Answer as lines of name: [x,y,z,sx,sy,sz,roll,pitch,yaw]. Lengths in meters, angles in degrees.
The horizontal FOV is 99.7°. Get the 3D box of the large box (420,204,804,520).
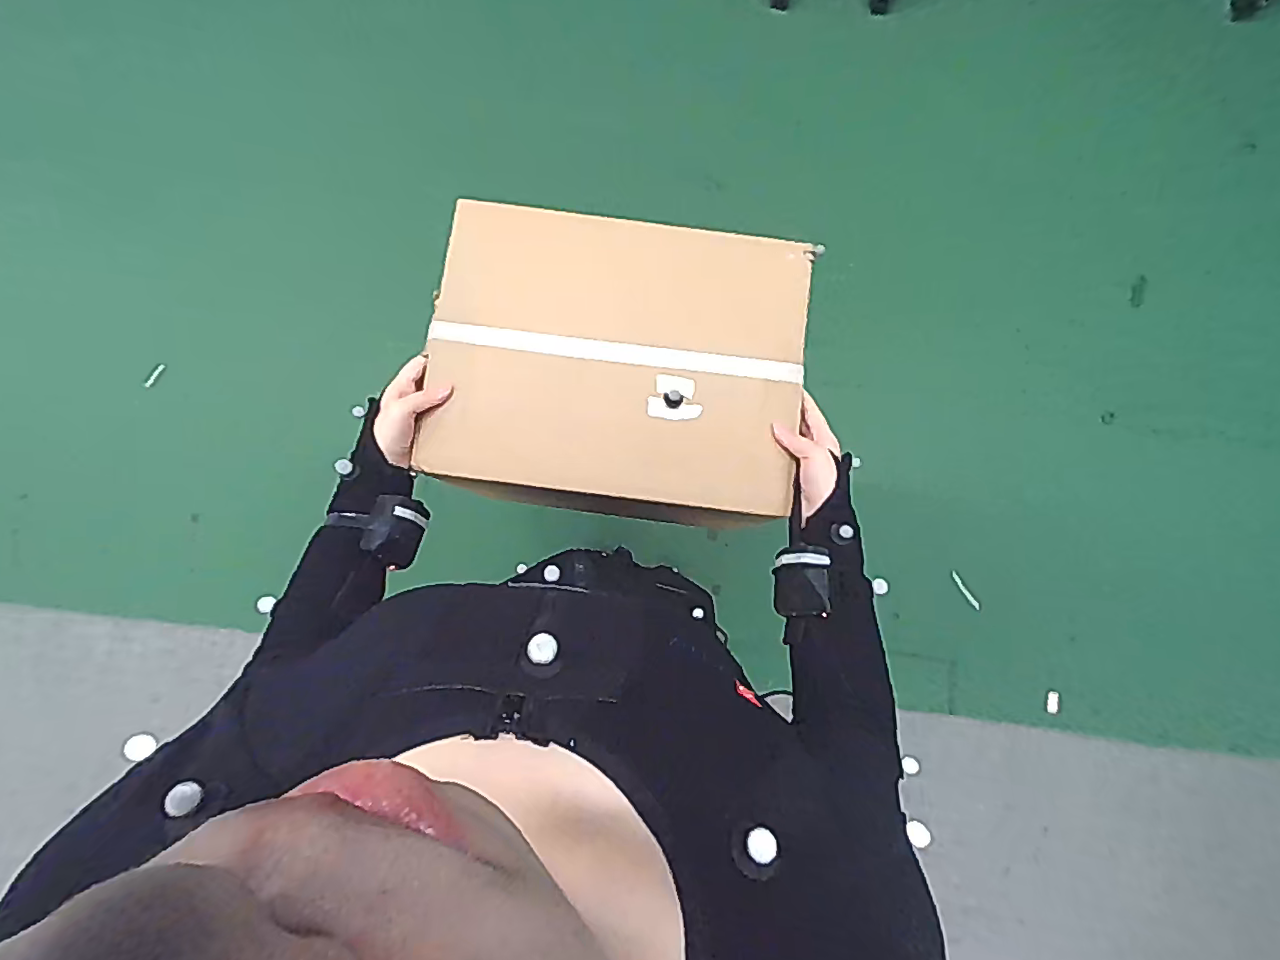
large box: [-0.031,-0.124,0.742,0.408,0.320,0.320,7,83,-2]
